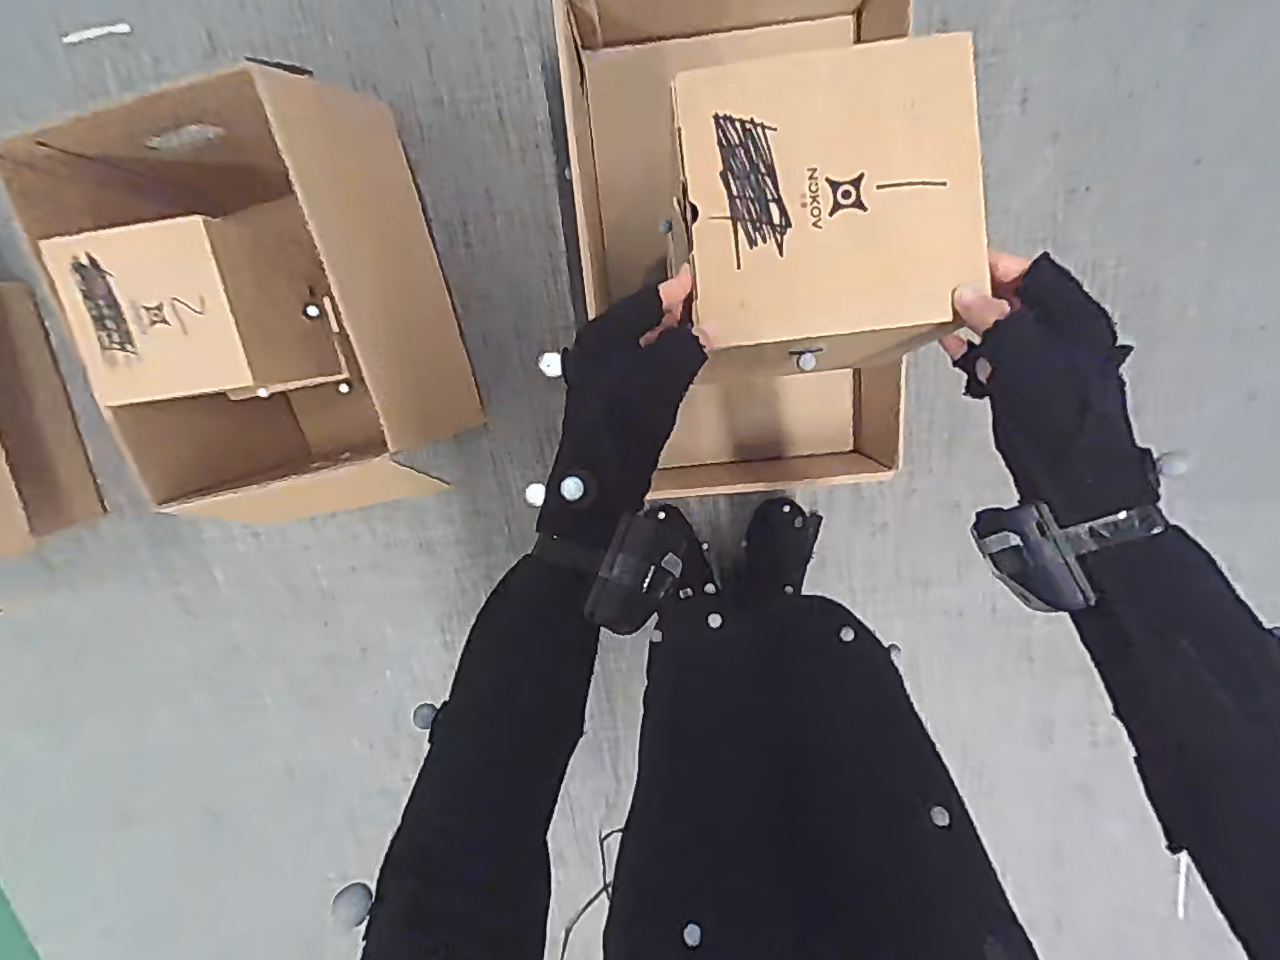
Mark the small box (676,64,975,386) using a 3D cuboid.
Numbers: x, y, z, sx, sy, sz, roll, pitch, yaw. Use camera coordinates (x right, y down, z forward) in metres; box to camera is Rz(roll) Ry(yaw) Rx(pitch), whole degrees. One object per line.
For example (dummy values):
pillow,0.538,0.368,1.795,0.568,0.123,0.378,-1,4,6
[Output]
small box,0.120,-0.172,0.420,0.179,0.176,0.168,-5,91,2
